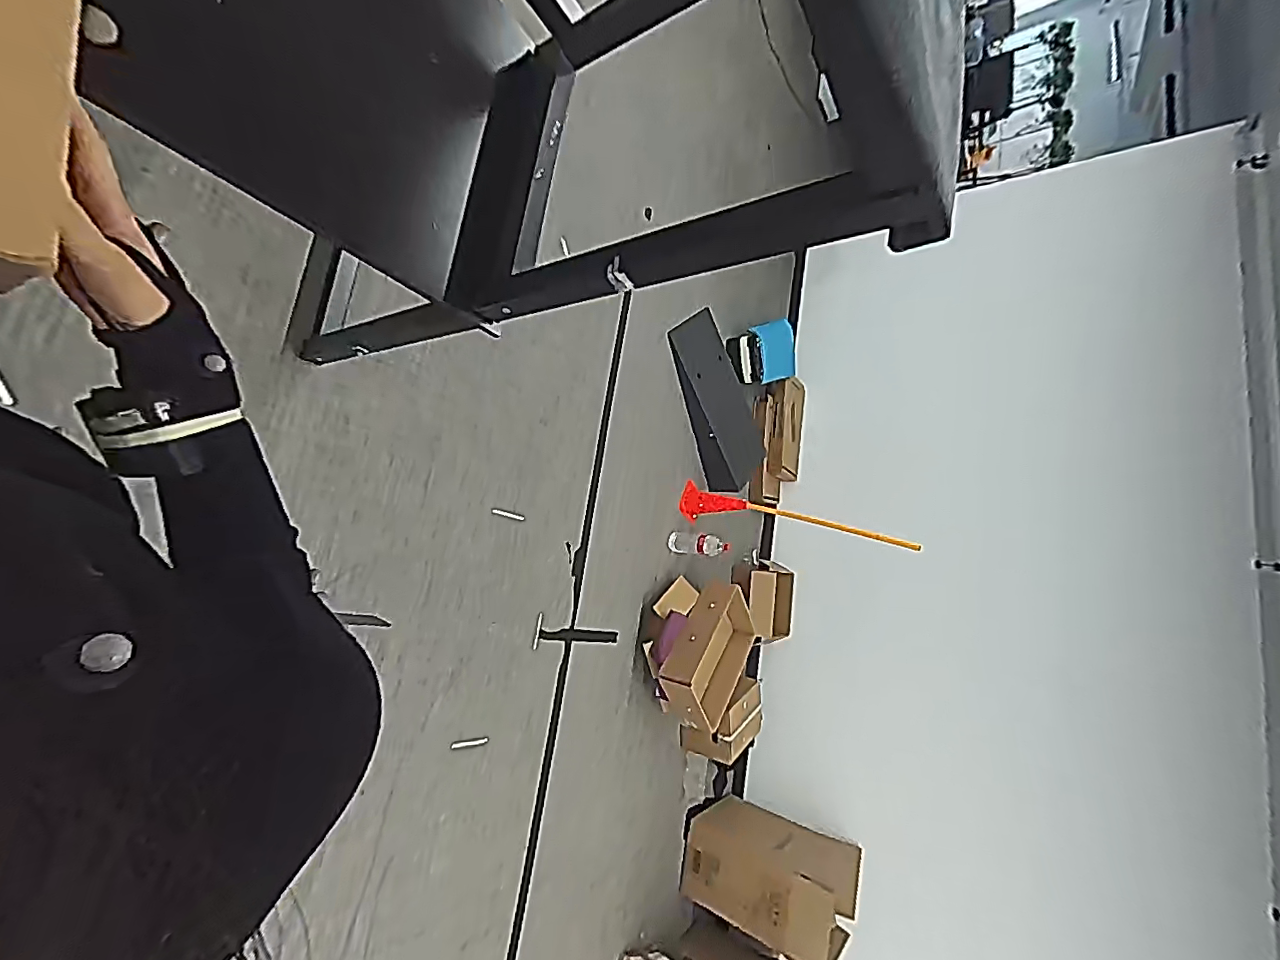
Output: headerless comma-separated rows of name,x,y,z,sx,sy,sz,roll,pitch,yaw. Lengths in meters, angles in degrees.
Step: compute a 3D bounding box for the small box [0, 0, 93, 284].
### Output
small box,-0.356,-0.195,0.216,0.168,0.176,0.179,4,94,-55
